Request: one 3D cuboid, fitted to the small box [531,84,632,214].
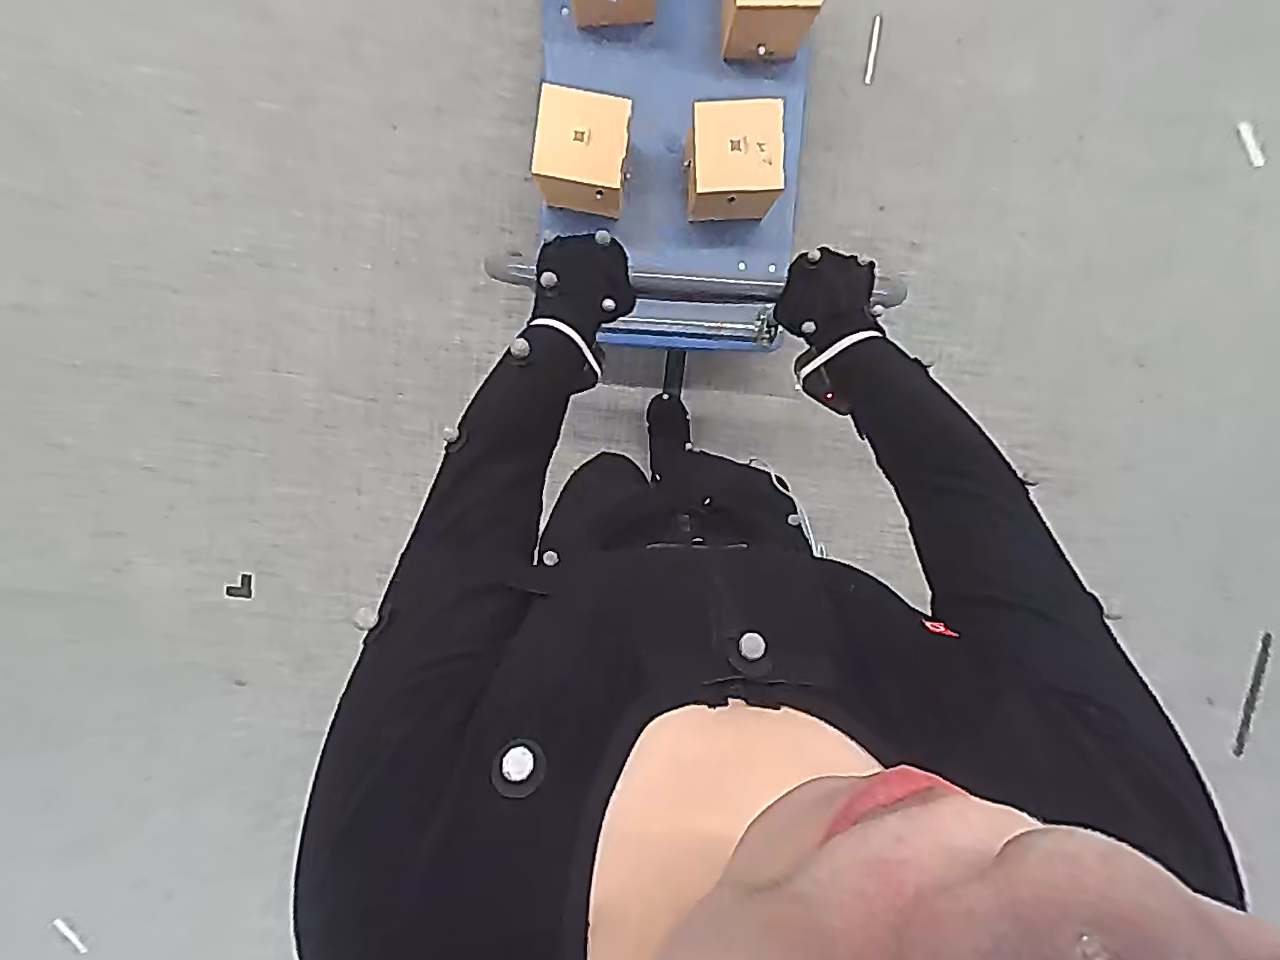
[{"bbox_3d":[-0.118,-0.676,1.126,0.179,0.176,0.168,9,98,-4],"label":"small box"}]

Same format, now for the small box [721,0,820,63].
[{"bbox_3d":[0.258,-0.988,1.087,0.168,0.176,0.179,0,99,-1],"label":"small box"}]

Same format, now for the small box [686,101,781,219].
[{"bbox_3d":[0.188,-0.660,1.134,0.179,0.176,0.168,-2,99,-1],"label":"small box"}]
